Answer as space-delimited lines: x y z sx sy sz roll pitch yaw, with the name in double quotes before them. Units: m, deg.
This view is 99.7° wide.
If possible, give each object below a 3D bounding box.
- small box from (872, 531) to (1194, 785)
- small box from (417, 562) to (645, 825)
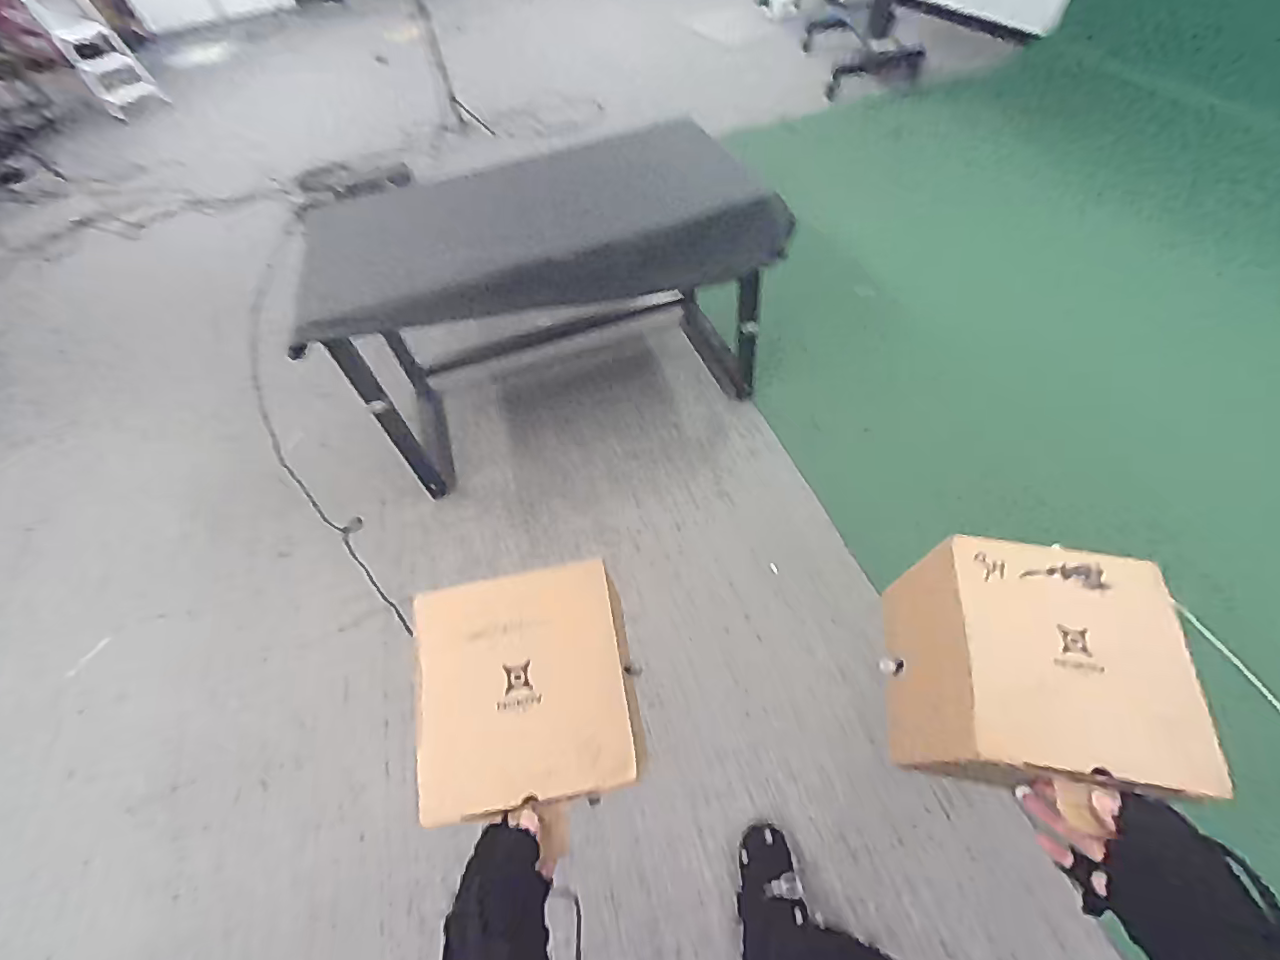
"small box" 0.327 0.167 0.497 0.168 0.176 0.179 7 62 6
"small box" -0.093 0.196 0.514 0.168 0.176 0.179 -12 66 -2
